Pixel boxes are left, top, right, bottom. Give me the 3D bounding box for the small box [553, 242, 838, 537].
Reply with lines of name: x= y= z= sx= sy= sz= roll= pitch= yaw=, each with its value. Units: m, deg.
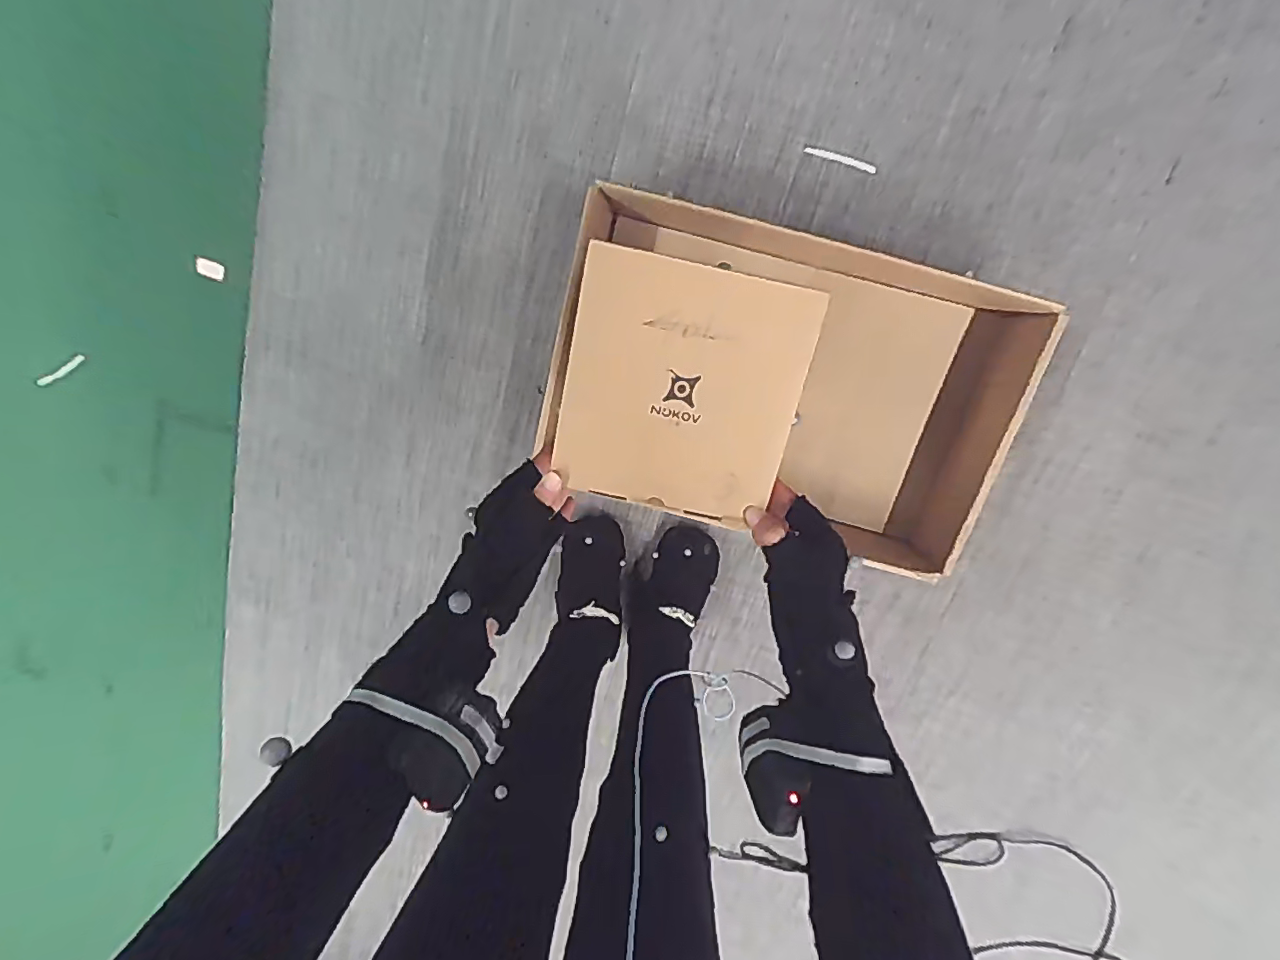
small box: x=0.038 y=-0.078 z=0.451 sx=0.168 sy=0.176 sz=0.179 roll=13 pitch=107 yaw=-1
